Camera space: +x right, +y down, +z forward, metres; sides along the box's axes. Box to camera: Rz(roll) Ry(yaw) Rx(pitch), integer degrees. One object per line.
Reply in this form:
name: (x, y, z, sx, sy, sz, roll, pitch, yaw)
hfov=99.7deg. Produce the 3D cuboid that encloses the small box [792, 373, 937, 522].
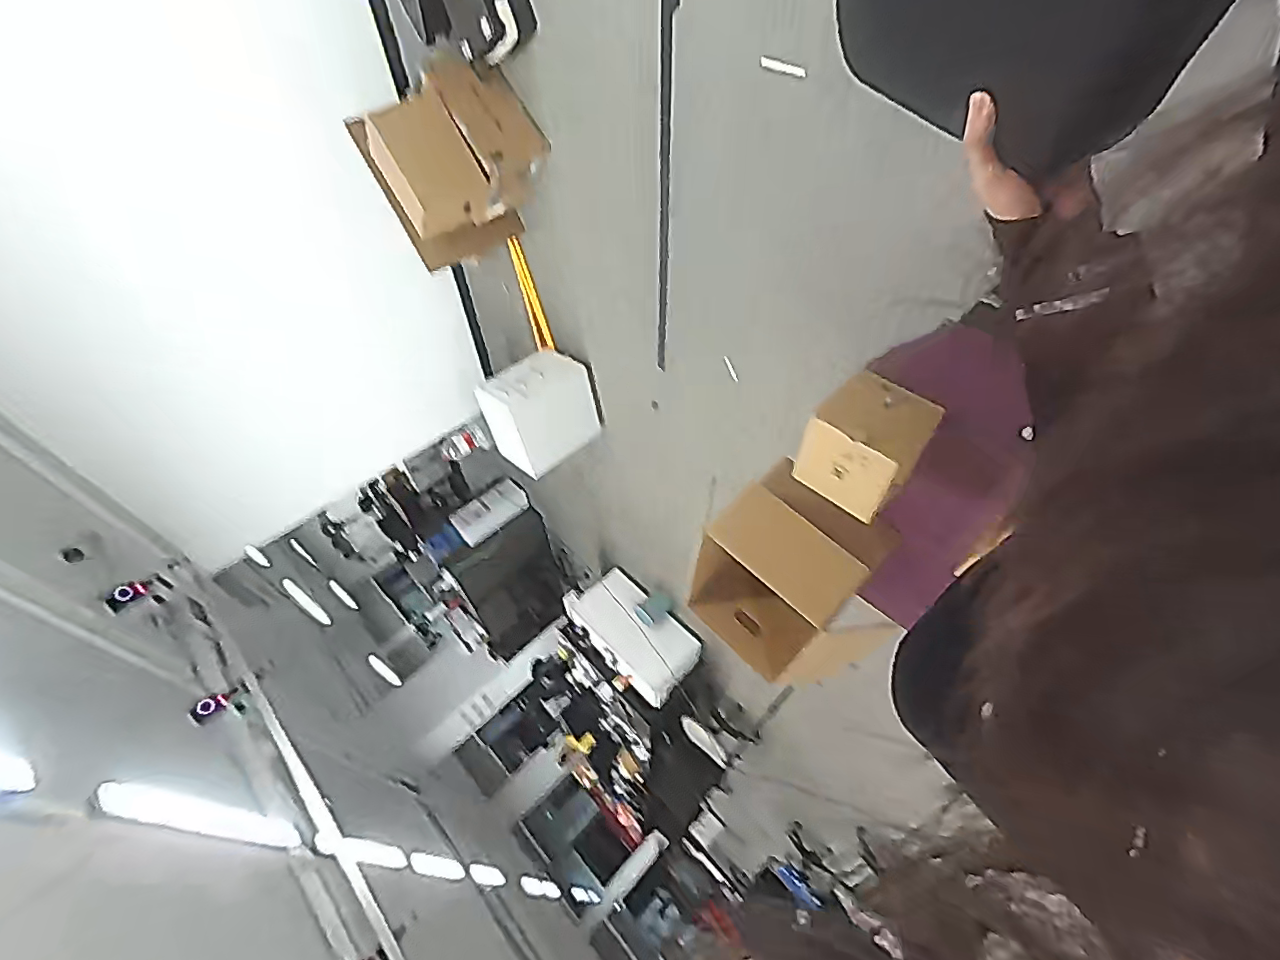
small box: (0.411, -0.063, 0.997, 0.168, 0.176, 0.179, 37, 151, 26)
